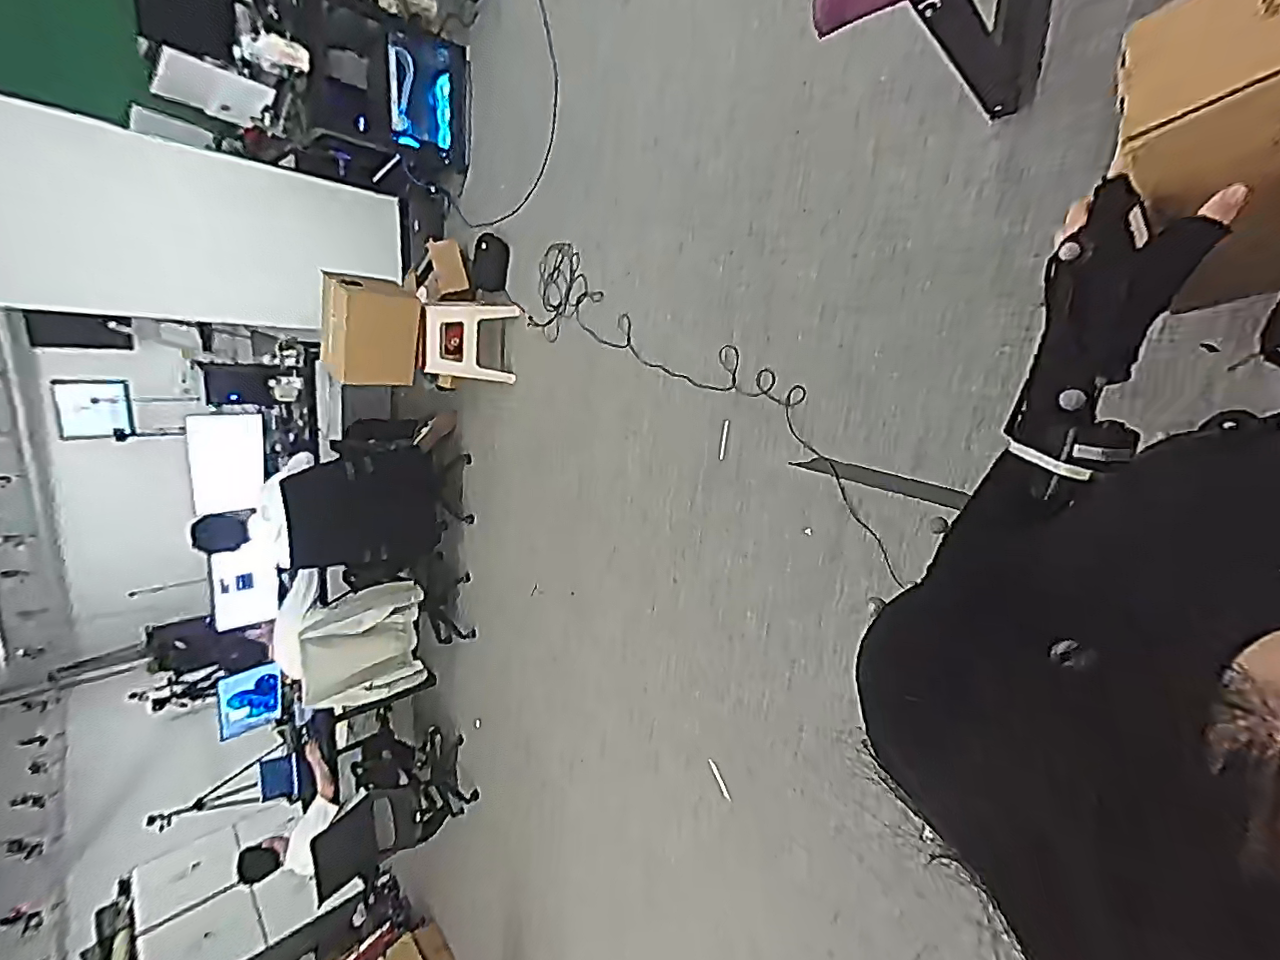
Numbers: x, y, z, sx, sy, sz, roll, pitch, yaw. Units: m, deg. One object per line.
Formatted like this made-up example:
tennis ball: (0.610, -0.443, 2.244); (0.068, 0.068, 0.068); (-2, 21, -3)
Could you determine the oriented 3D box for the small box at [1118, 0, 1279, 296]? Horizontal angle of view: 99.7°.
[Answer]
small box: (0.457, -0.257, 0.362); (0.179, 0.176, 0.168); (-10, 49, 50)
